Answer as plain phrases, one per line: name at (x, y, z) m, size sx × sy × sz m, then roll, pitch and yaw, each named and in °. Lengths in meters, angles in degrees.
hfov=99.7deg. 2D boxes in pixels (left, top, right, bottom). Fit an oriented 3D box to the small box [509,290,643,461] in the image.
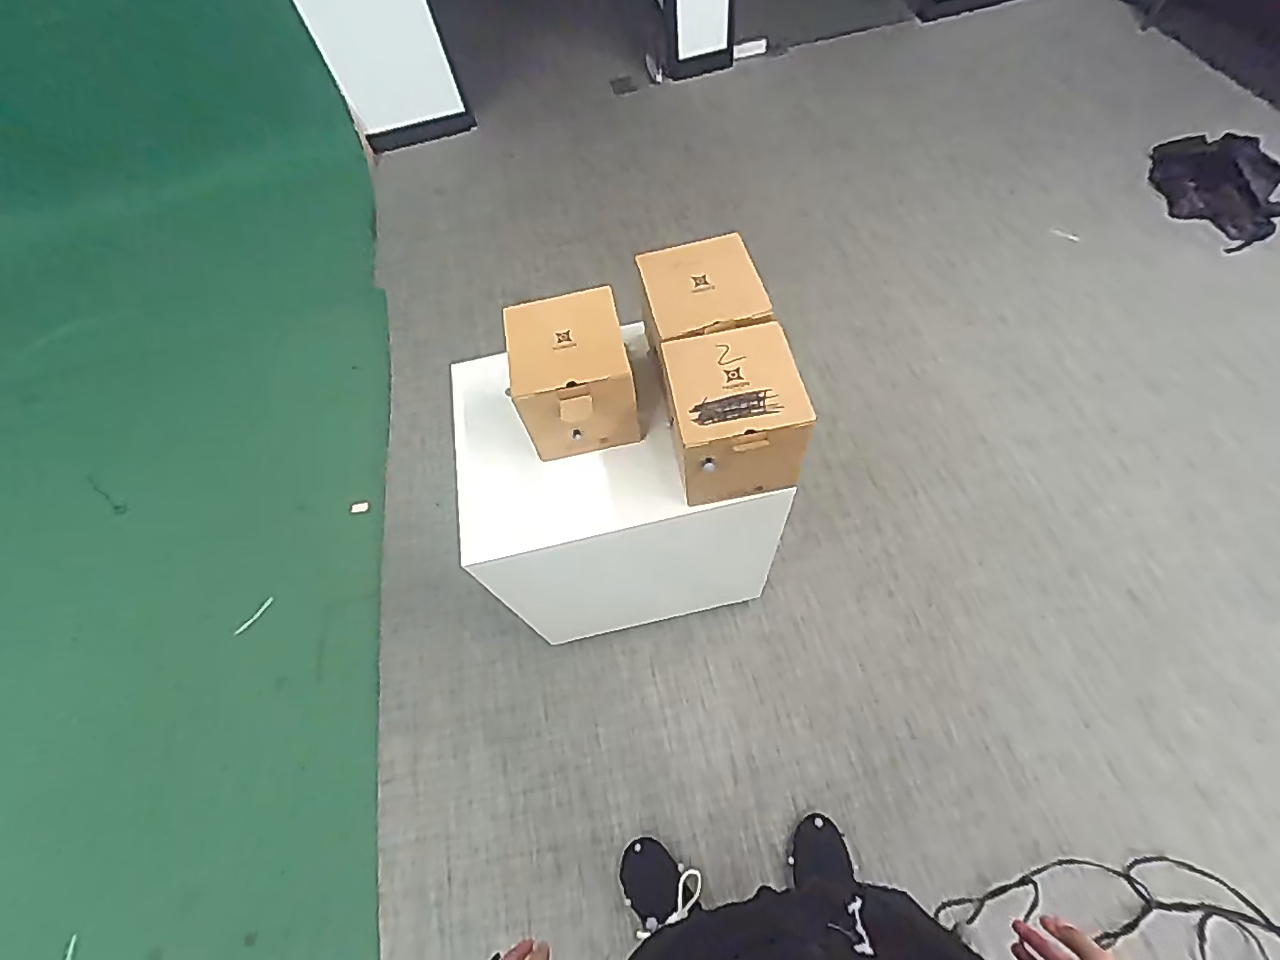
small box at (-0.094, -0.156, 0.832) m, size 0.168 × 0.176 × 0.179 m, roll -13°, pitch 61°, yaw 0°
